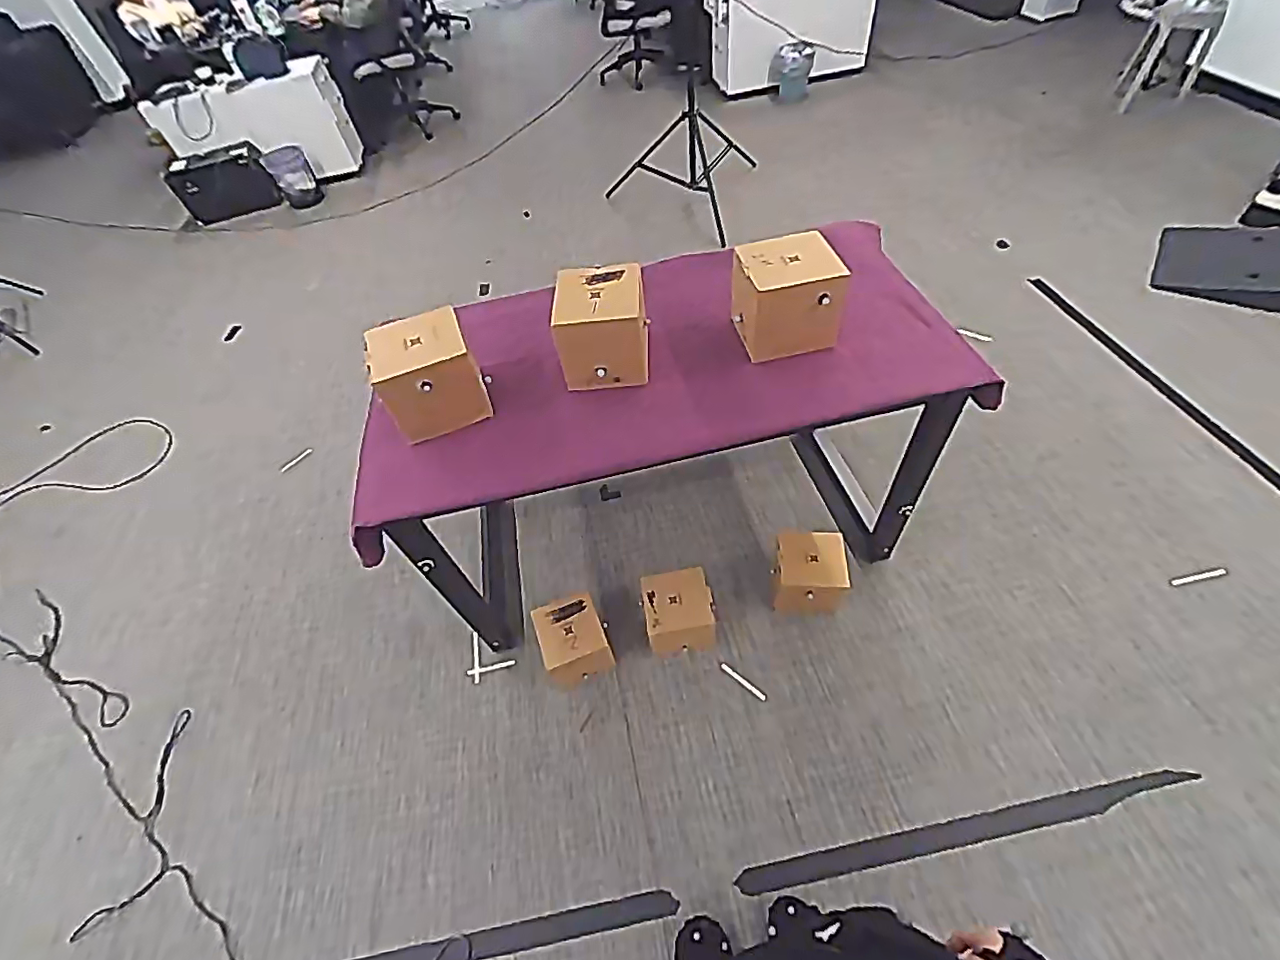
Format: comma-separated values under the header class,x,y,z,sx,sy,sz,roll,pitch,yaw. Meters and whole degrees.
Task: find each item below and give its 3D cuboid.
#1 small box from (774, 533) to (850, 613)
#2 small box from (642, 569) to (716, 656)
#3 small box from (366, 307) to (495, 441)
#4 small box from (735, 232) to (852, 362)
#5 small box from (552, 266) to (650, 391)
class,x,y,z,sx,sy,sz,roll,pitch,yaw
small box,0.471,0.261,1.507,0.179,0.176,0.168,0,54,10
small box,0.106,0.365,1.478,0.179,0.176,0.168,-9,52,1
small box,-0.407,-0.203,1.063,0.179,0.176,0.168,-21,54,-10
small box,0.295,-0.362,1.082,0.179,0.176,0.168,-12,51,0
small box,-0.070,-0.303,1.090,0.168,0.176,0.179,-4,53,6
